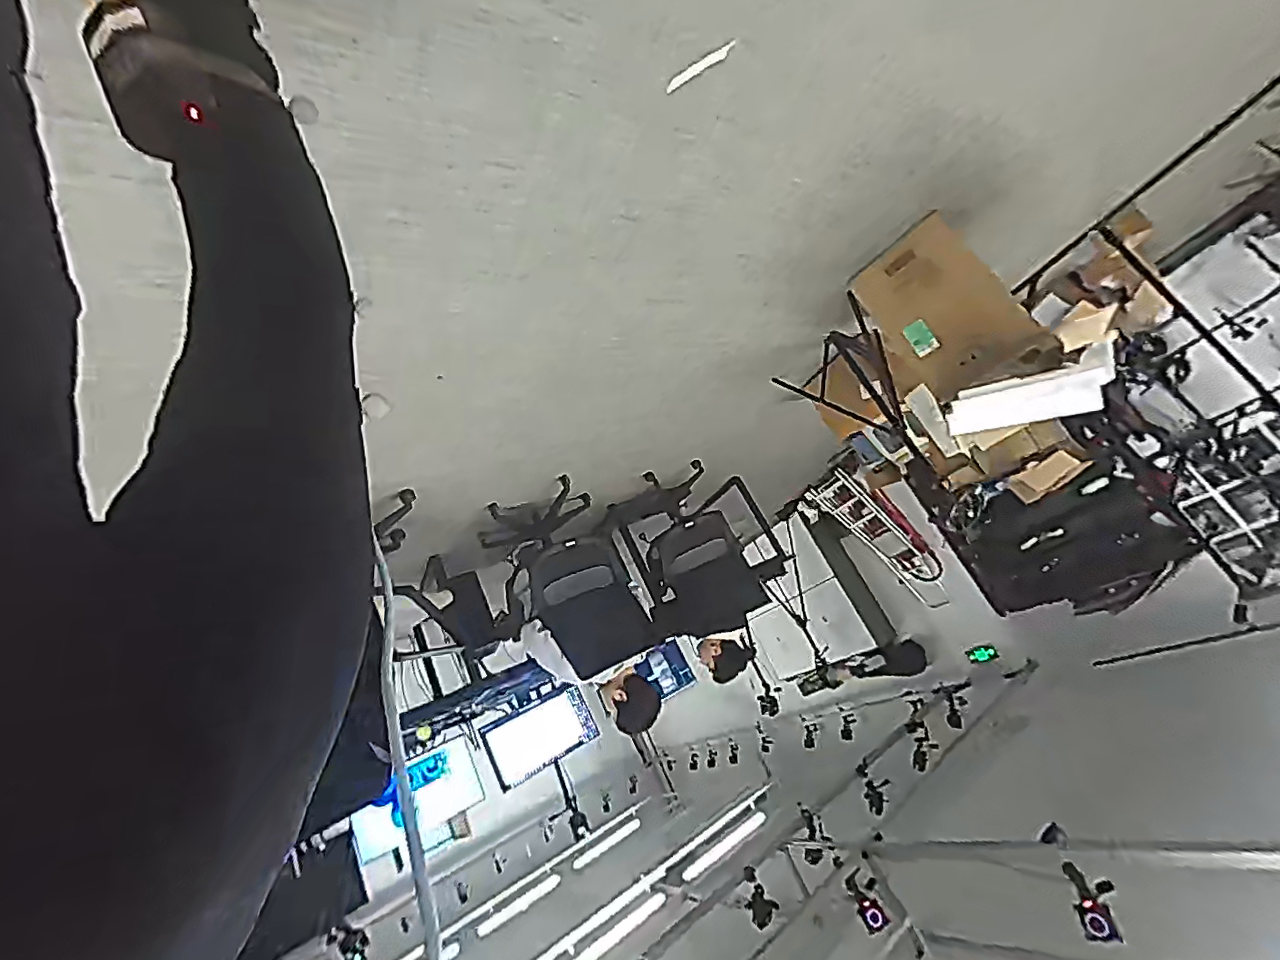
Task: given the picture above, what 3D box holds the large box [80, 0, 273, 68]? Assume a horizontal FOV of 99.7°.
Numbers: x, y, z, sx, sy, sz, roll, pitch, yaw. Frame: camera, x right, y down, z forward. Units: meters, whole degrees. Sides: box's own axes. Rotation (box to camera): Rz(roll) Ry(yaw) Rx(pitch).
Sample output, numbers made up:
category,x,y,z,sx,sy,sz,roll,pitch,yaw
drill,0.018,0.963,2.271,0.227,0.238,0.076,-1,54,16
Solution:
category,x,y,z,sx,sy,sz,roll,pitch,yaw
large box,-0.382,-0.568,0.288,0.408,0.320,0.320,28,143,-31
